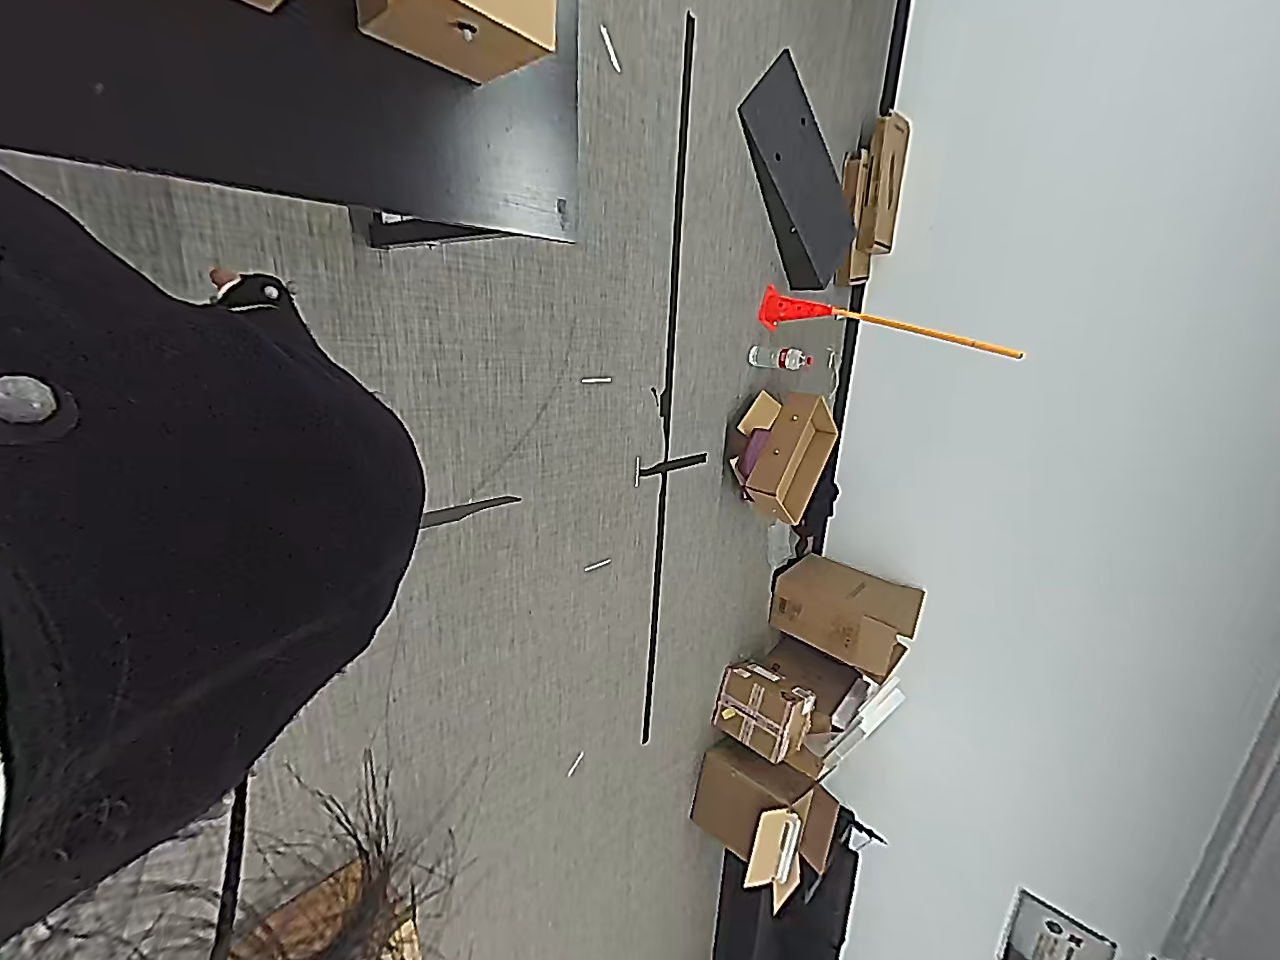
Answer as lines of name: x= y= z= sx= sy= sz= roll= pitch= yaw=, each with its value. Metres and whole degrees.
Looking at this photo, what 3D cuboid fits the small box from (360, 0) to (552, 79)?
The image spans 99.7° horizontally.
small box: x=-0.227 y=-0.628 z=0.660 sx=0.179 sy=0.176 sz=0.168 roll=-13 pitch=113 yaw=-47
